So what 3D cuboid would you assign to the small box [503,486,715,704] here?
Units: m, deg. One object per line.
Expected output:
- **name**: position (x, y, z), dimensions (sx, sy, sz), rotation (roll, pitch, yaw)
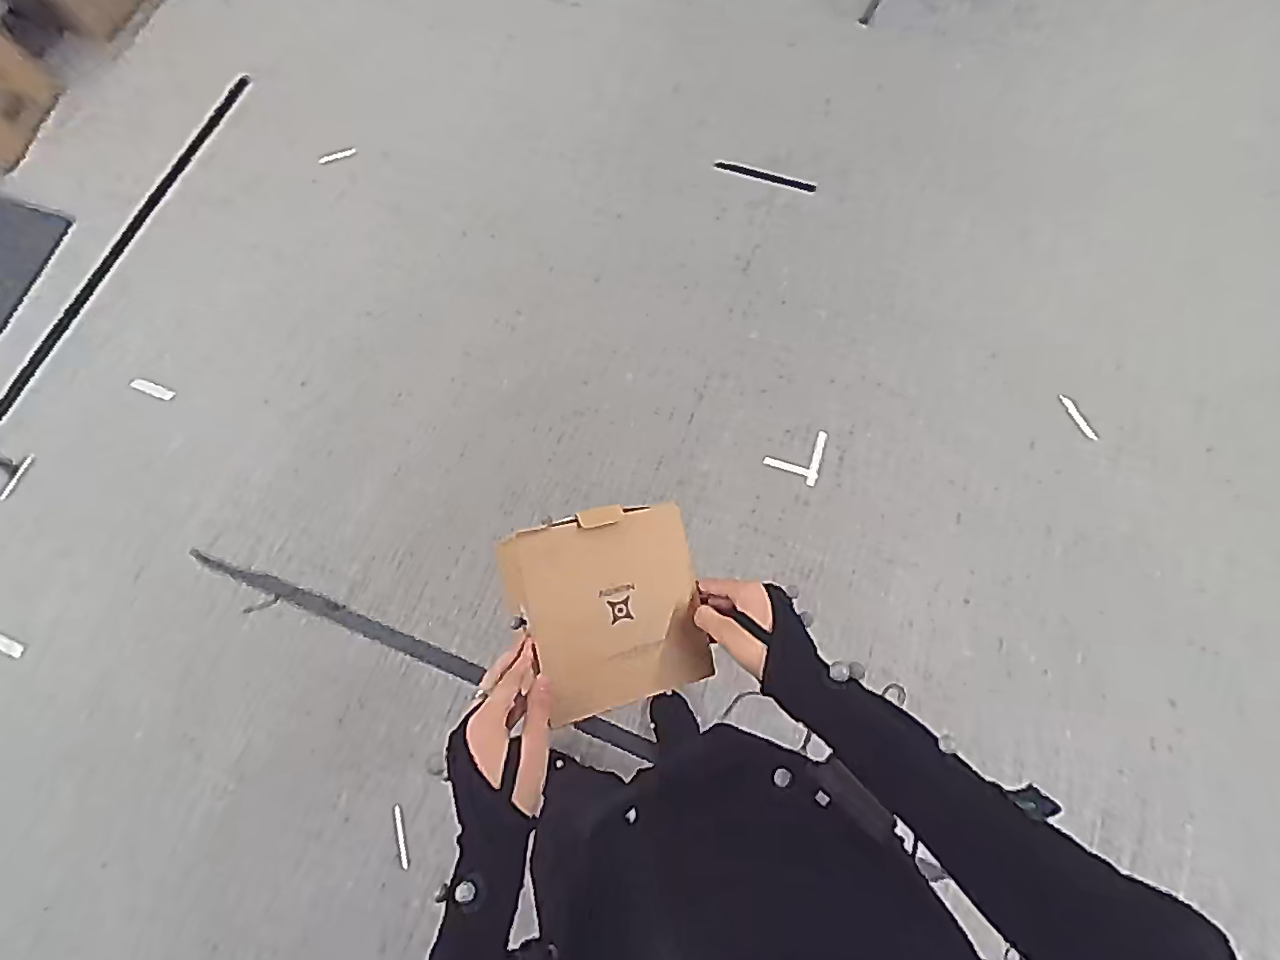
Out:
- **small box**: position (-0.045, 0.115, 0.576), dimensions (0.168, 0.176, 0.179), rotation (-9, 82, -21)
